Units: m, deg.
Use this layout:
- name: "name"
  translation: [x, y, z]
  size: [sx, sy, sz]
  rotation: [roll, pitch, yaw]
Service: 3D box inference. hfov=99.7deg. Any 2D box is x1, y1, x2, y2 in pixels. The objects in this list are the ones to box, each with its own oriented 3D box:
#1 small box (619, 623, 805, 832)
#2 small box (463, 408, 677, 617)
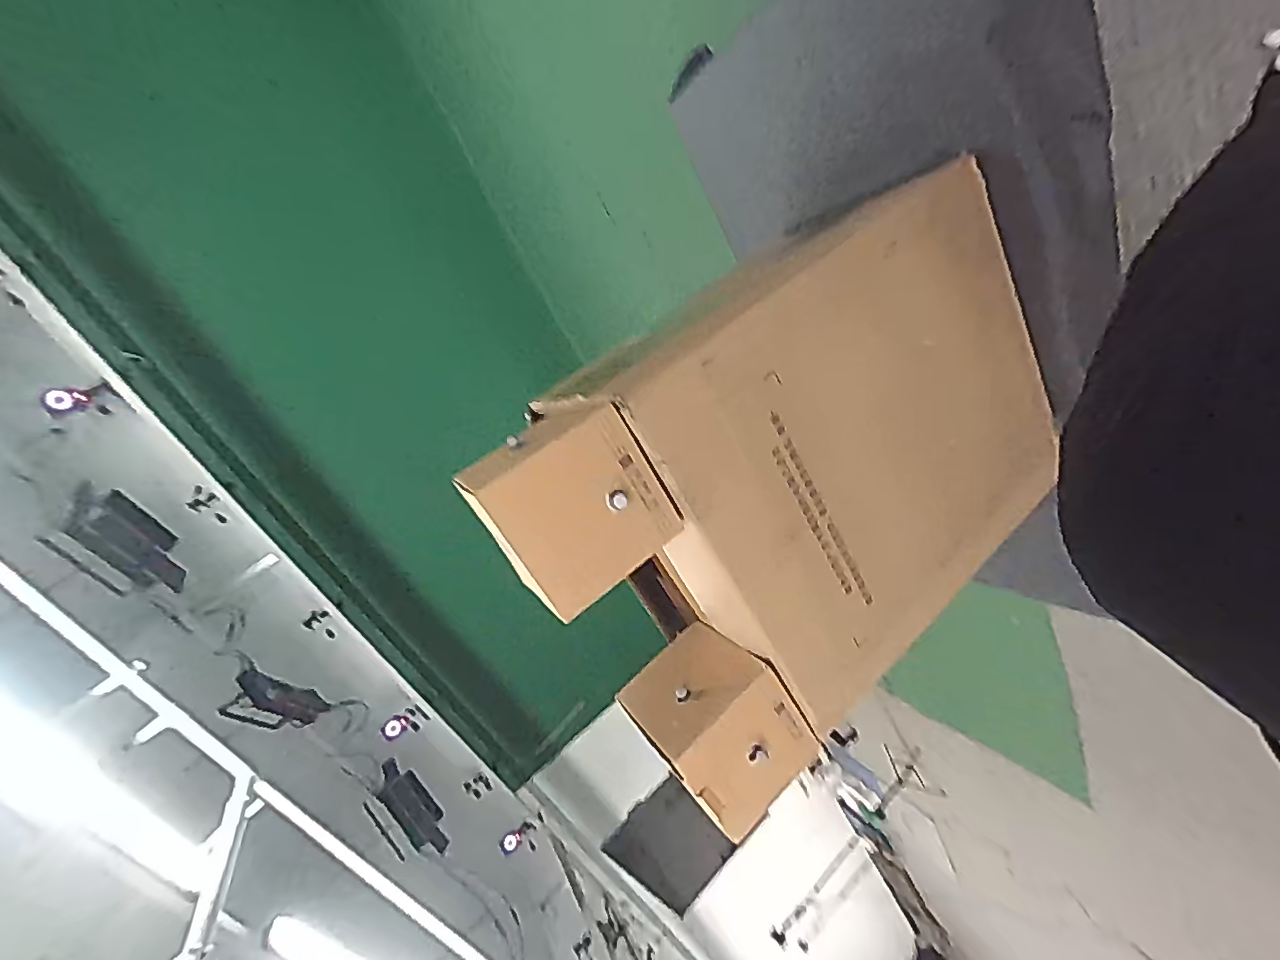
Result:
- name: "small box"
  translation: [0.106, 0.332, 0.764]
  size: [0.168, 0.176, 0.179]
  rotation: [57, 162, -19]
- name: "small box"
  translation: [-0.085, 0.027, 0.645]
  size: [0.168, 0.176, 0.179]
  rotation: [59, 161, -18]
